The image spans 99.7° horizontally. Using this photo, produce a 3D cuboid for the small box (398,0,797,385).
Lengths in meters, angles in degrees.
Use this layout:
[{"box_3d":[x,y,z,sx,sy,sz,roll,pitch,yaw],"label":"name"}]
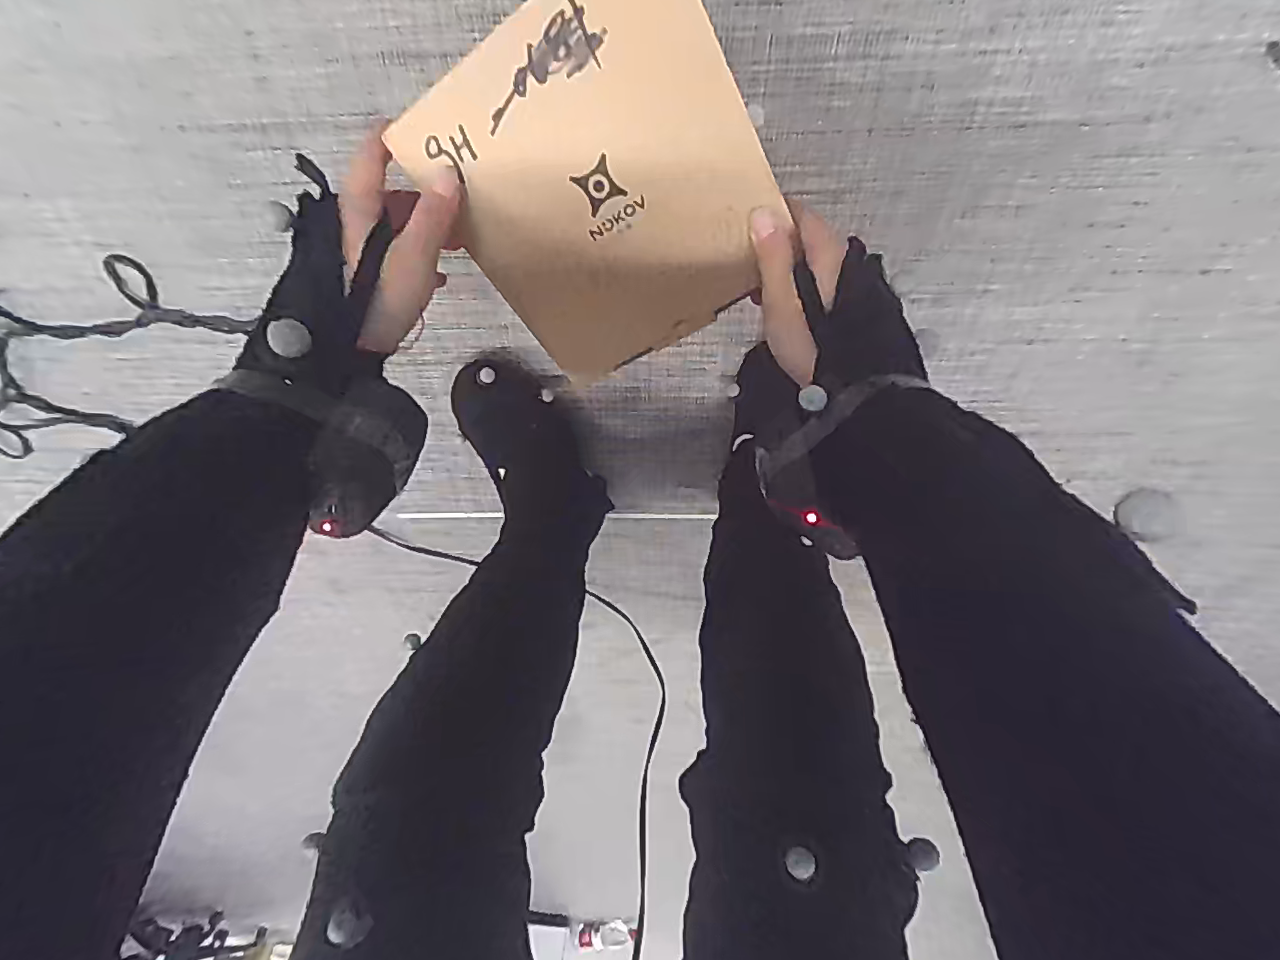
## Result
[{"box_3d":[-0.015,-0.204,0.366,0.168,0.176,0.179,-25,124,20],"label":"small box"}]
